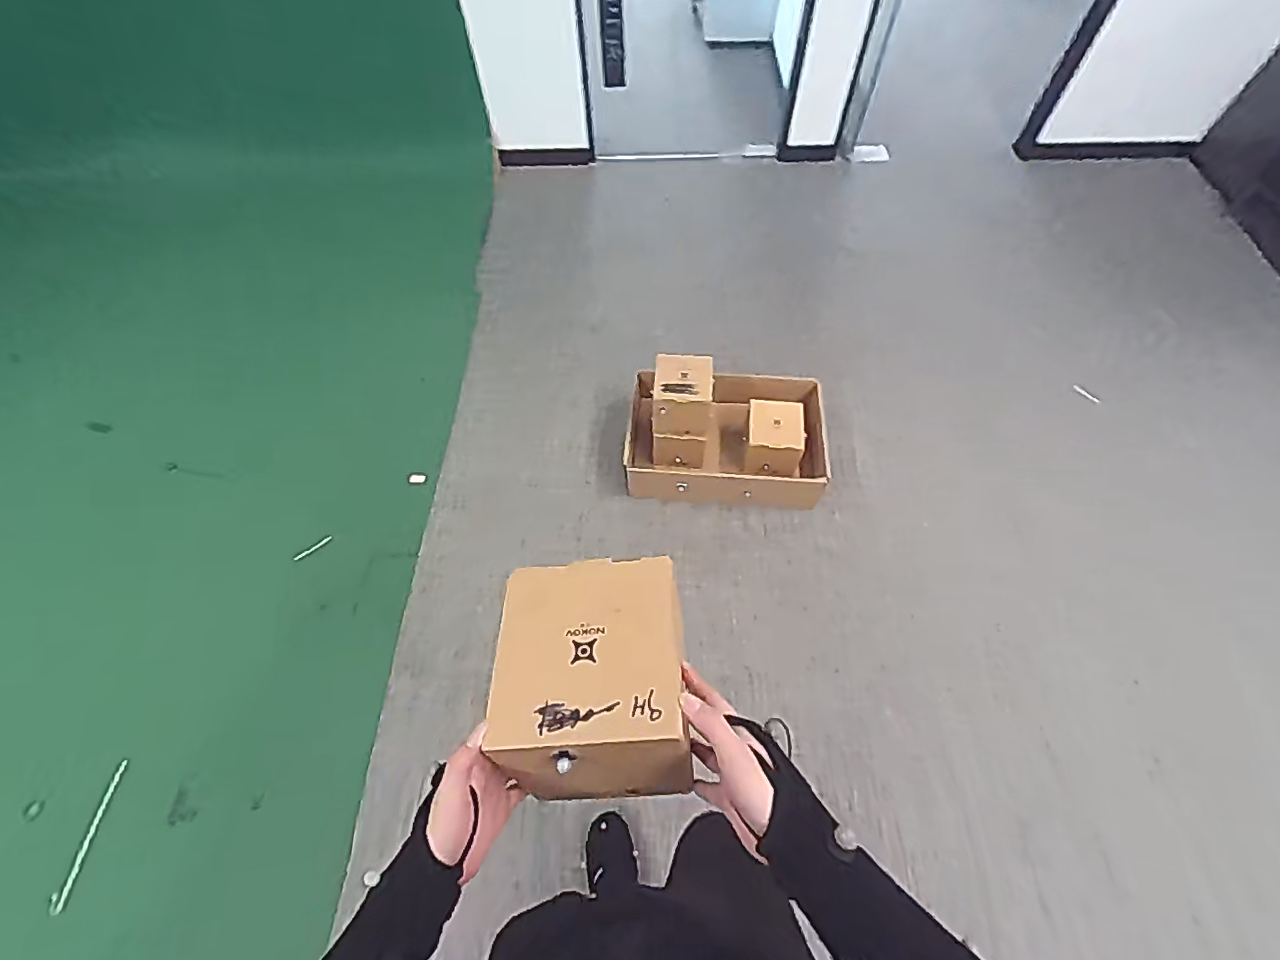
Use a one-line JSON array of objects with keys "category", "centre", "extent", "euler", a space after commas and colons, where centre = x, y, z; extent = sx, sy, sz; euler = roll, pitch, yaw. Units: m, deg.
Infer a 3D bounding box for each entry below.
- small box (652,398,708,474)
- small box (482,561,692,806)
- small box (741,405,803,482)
[{"category": "small box", "centre": [0.127, -0.140, 1.745], "extent": [0.168, 0.176, 0.179], "euler": [4, 58, 4]}, {"category": "small box", "centre": [-0.037, 0.204, 0.541], "extent": [0.168, 0.176, 0.179], "euler": [-5, 45, 5]}, {"category": "small box", "centre": [0.417, -0.115, 1.724], "extent": [0.168, 0.176, 0.179], "euler": [5, 60, 5]}]
